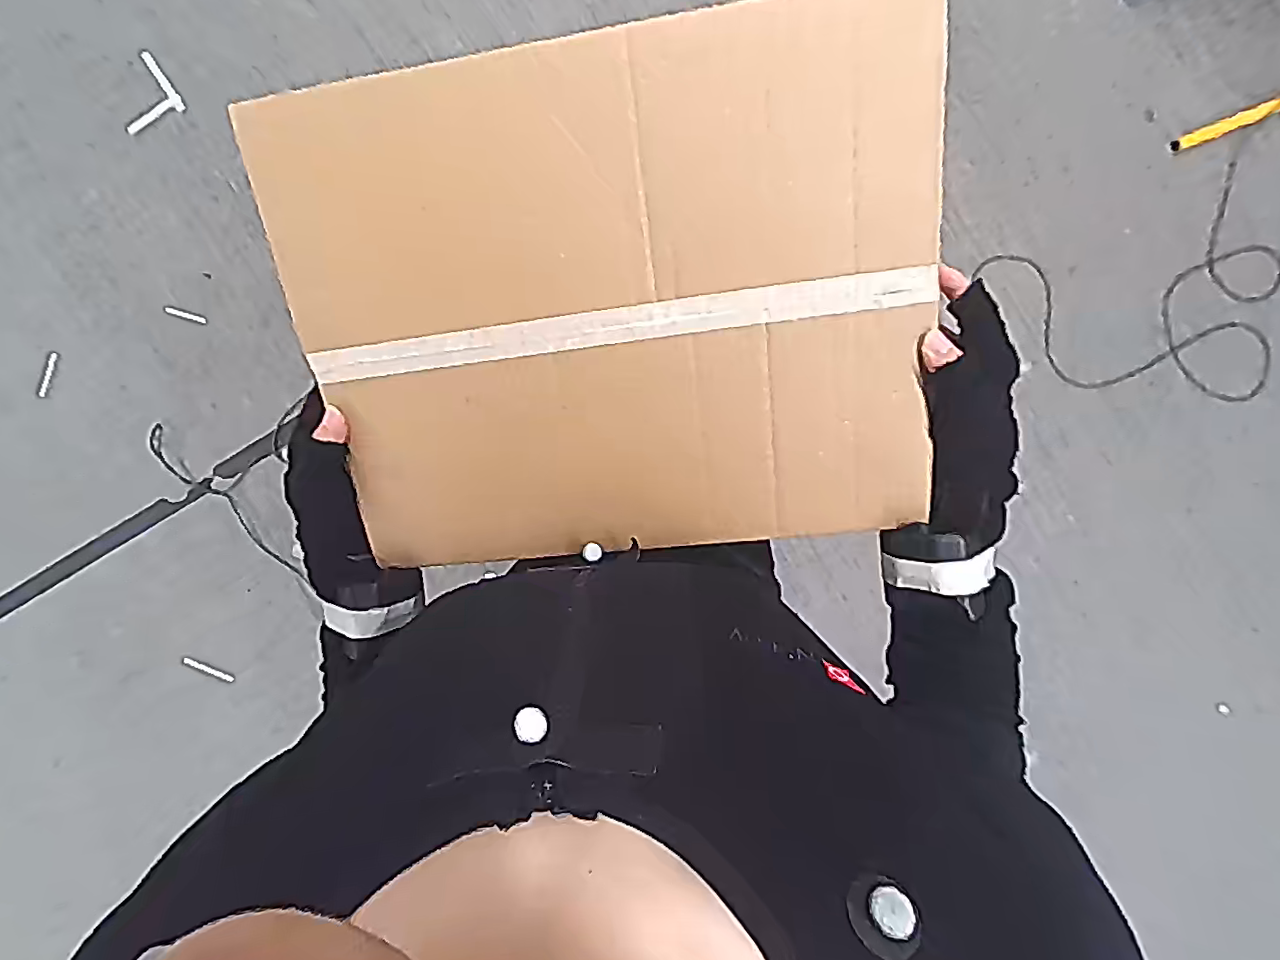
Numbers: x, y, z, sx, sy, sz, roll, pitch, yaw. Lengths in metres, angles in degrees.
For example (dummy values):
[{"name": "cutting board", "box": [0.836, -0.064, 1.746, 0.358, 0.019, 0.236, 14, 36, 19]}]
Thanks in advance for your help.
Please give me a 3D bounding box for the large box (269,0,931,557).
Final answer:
[{"name": "large box", "box": [-0.008, -0.151, 0.500, 0.408, 0.320, 0.320, -6, 110, 7]}]
